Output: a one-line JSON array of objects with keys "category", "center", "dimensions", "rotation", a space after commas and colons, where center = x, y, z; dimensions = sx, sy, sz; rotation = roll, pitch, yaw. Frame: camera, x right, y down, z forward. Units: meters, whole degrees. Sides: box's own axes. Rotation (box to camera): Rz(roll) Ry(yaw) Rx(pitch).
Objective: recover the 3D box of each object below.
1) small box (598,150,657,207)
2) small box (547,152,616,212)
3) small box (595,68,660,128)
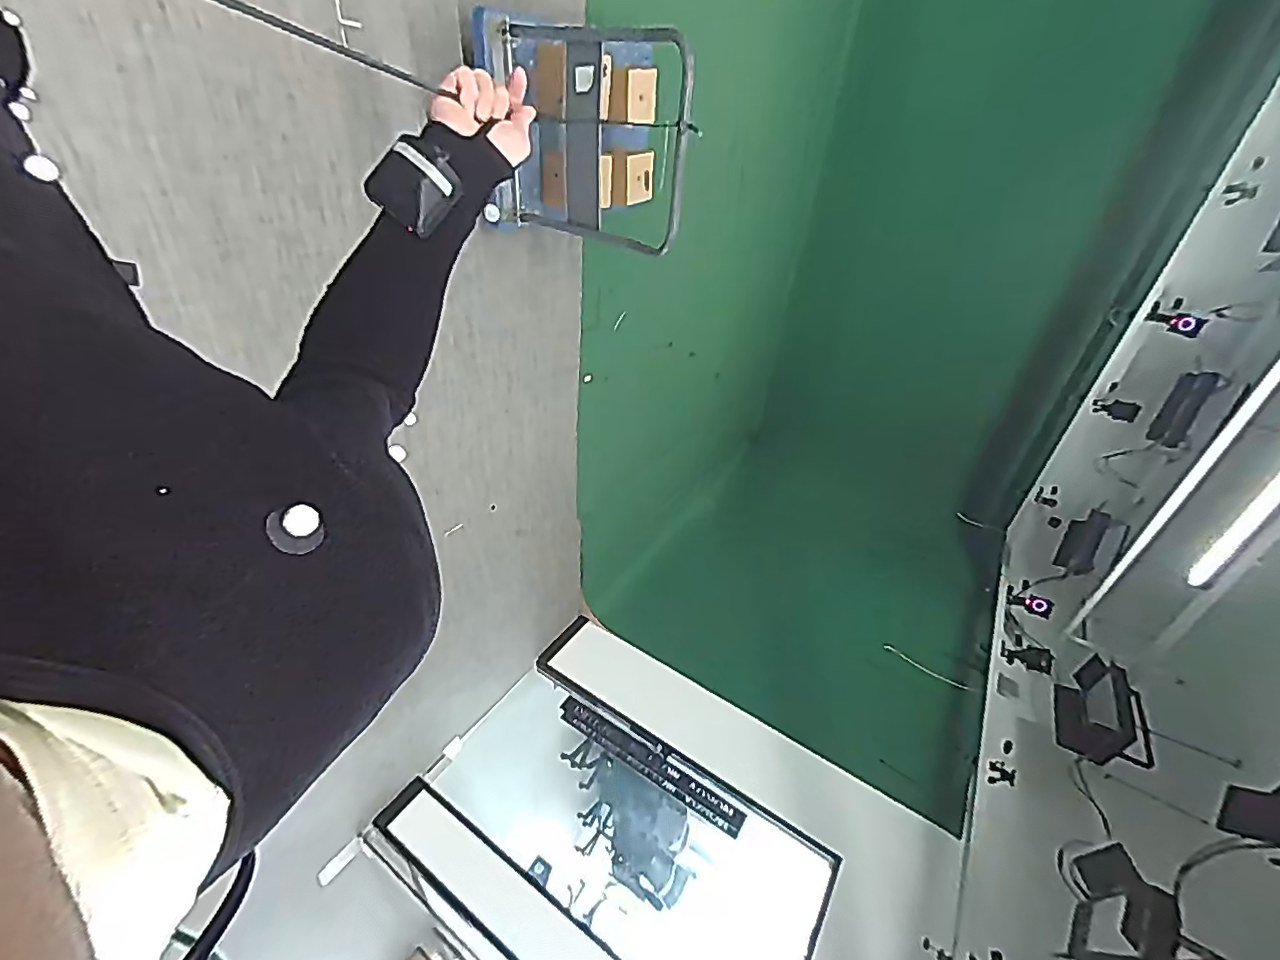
[{"category": "small box", "center": [-0.053, -1.169, 2.087], "dimensions": [0.179, 0.176, 0.168], "rotation": [-40, 143, -41]}, {"category": "small box", "center": [-0.206, -1.049, 1.900], "dimensions": [0.179, 0.176, 0.168], "rotation": [-37, 142, -44]}, {"category": "small box", "center": [-0.049, -1.366, 1.931], "dimensions": [0.179, 0.176, 0.168], "rotation": [-41, 146, -41]}]
